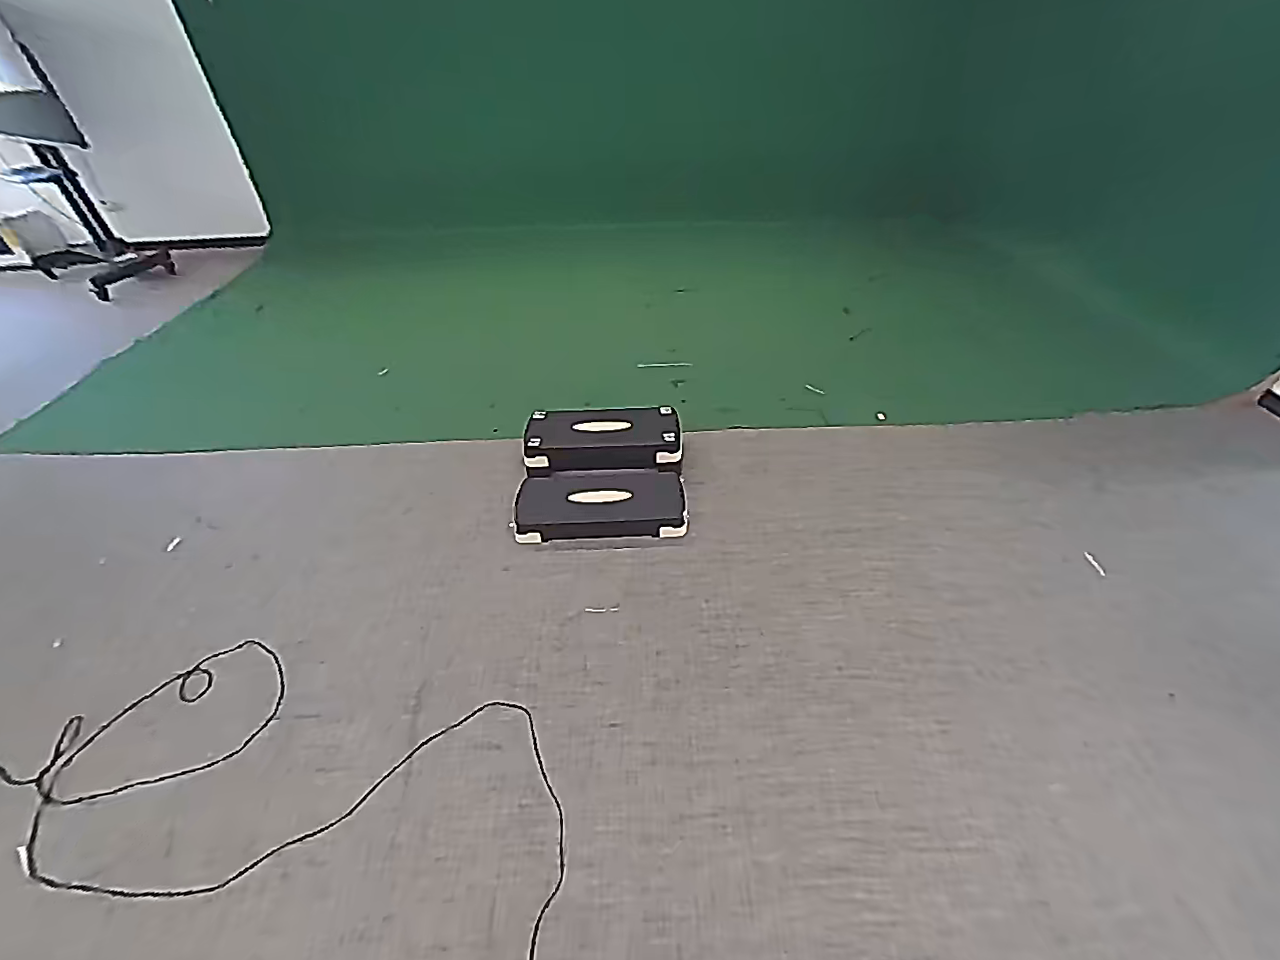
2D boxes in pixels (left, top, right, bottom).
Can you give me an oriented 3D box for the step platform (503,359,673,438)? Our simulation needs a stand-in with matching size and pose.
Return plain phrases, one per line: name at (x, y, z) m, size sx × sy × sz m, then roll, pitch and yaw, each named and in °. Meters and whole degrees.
step platform at (-0.207, -0.338, 2.249) m, size 0.684 × 0.204 × 0.286 m, roll -3°, pitch 42°, yaw 0°
